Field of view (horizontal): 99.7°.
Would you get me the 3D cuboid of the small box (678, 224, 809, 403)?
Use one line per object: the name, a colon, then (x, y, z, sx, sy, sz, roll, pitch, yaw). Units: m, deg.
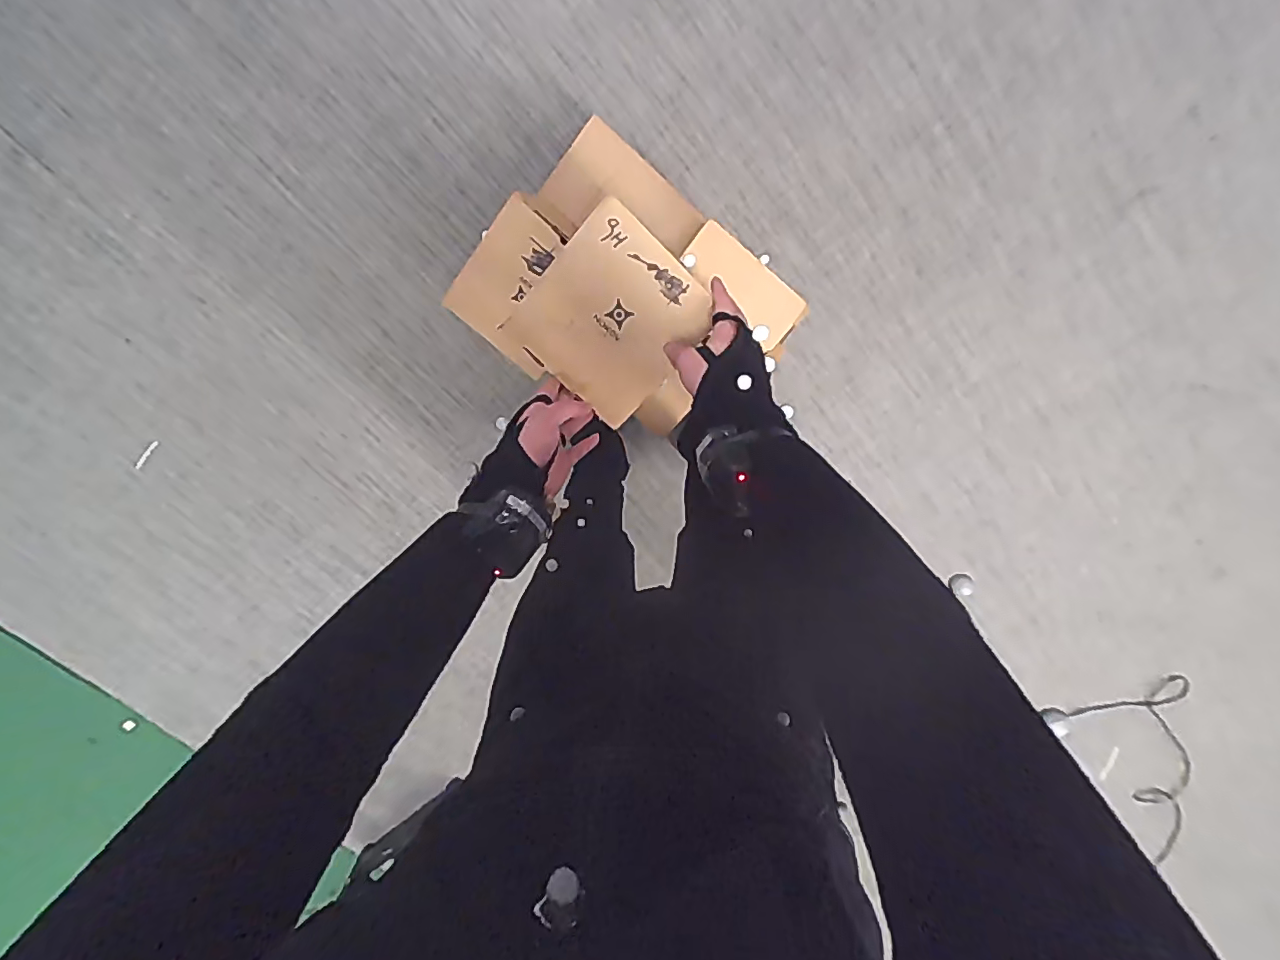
small box: (0.110, -0.242, 0.787, 0.179, 0.176, 0.168, 36, 108, -10)

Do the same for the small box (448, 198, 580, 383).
small box: (-0.139, -0.277, 0.787, 0.168, 0.176, 0.179, 40, 112, -13)

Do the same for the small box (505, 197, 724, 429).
small box: (-0.023, -0.193, 0.635, 0.168, 0.176, 0.179, 42, 107, -13)
